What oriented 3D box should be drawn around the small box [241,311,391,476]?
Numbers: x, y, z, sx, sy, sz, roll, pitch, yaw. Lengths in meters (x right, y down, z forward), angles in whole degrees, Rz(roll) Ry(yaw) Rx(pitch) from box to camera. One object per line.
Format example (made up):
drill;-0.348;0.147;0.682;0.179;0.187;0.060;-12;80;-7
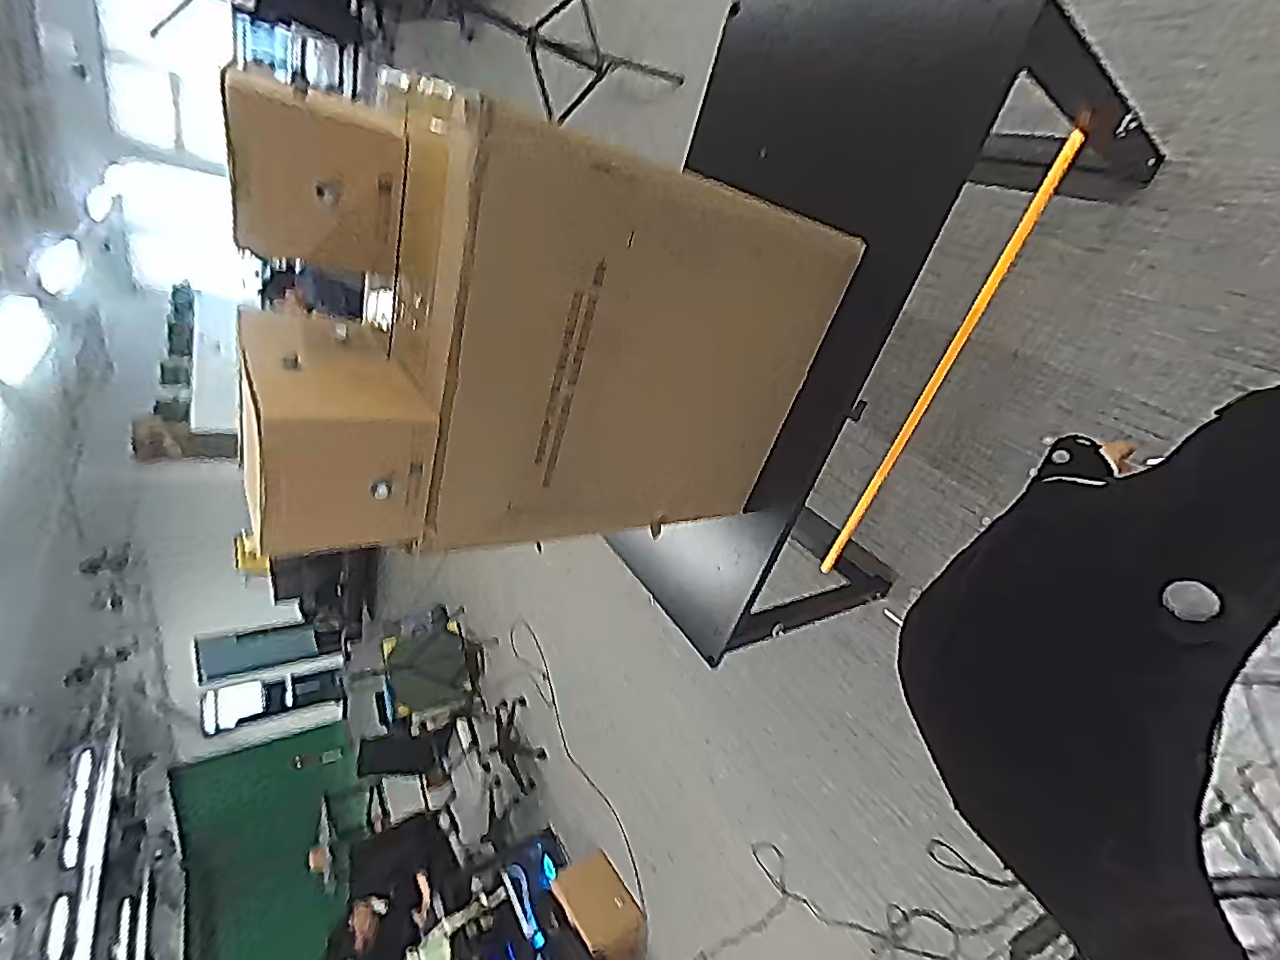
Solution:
small box;-0.467;-0.121;0.779;0.168;0.176;0.179;46;126;42
